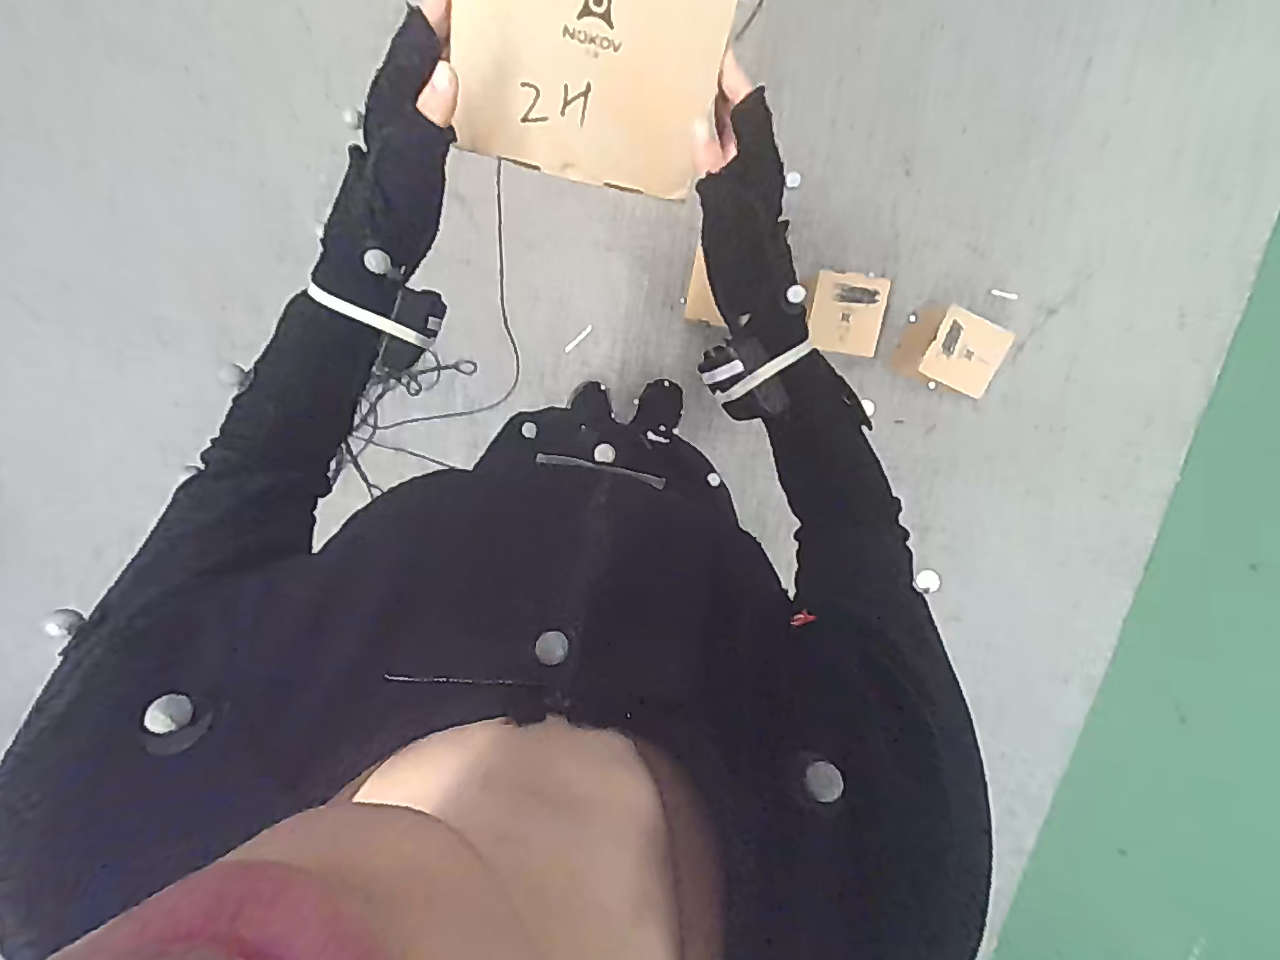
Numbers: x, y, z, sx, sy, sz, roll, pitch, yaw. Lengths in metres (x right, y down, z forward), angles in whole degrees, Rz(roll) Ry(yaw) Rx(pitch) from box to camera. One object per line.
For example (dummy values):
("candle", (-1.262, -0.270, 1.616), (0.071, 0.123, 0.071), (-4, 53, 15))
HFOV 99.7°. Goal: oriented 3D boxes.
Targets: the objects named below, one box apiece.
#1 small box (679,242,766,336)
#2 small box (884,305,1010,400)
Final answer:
("small box", (0.190, -0.452, 1.304), (0.168, 0.176, 0.179), (10, 102, -1))
("small box", (0.742, -0.310, 1.330), (0.179, 0.176, 0.168), (23, 101, -6))
